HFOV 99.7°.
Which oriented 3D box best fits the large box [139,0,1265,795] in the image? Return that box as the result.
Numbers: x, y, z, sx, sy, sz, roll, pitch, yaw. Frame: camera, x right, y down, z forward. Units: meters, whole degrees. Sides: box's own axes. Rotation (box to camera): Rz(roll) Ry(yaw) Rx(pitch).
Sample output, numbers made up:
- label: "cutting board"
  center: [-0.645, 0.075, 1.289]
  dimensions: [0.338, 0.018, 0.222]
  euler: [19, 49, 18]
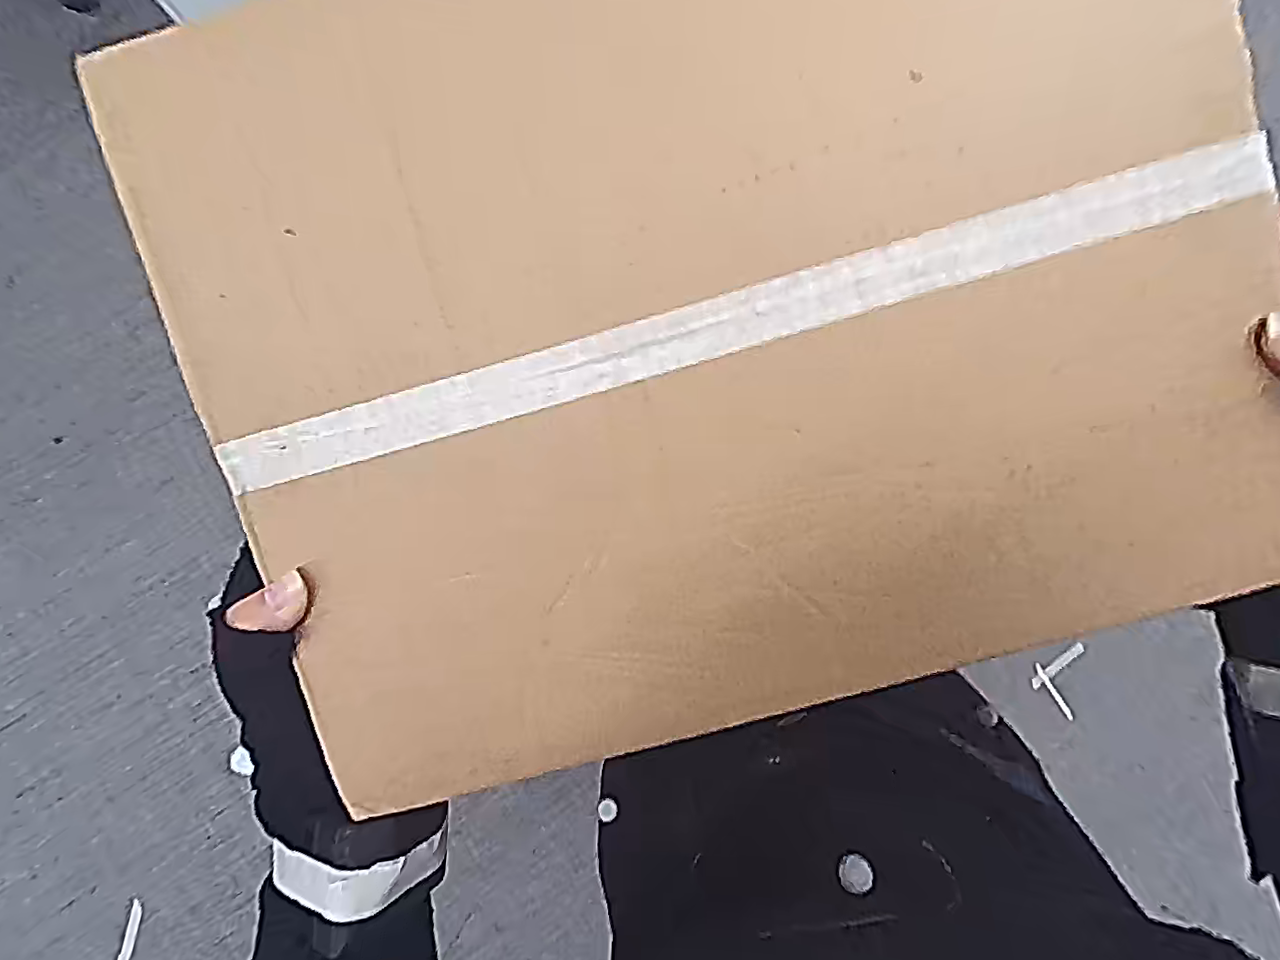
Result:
- label: "large box"
  center: [0.034, -0.074, 0.368]
  dimensions: [0.408, 0.320, 0.320]
  euler: [-16, 94, 3]
